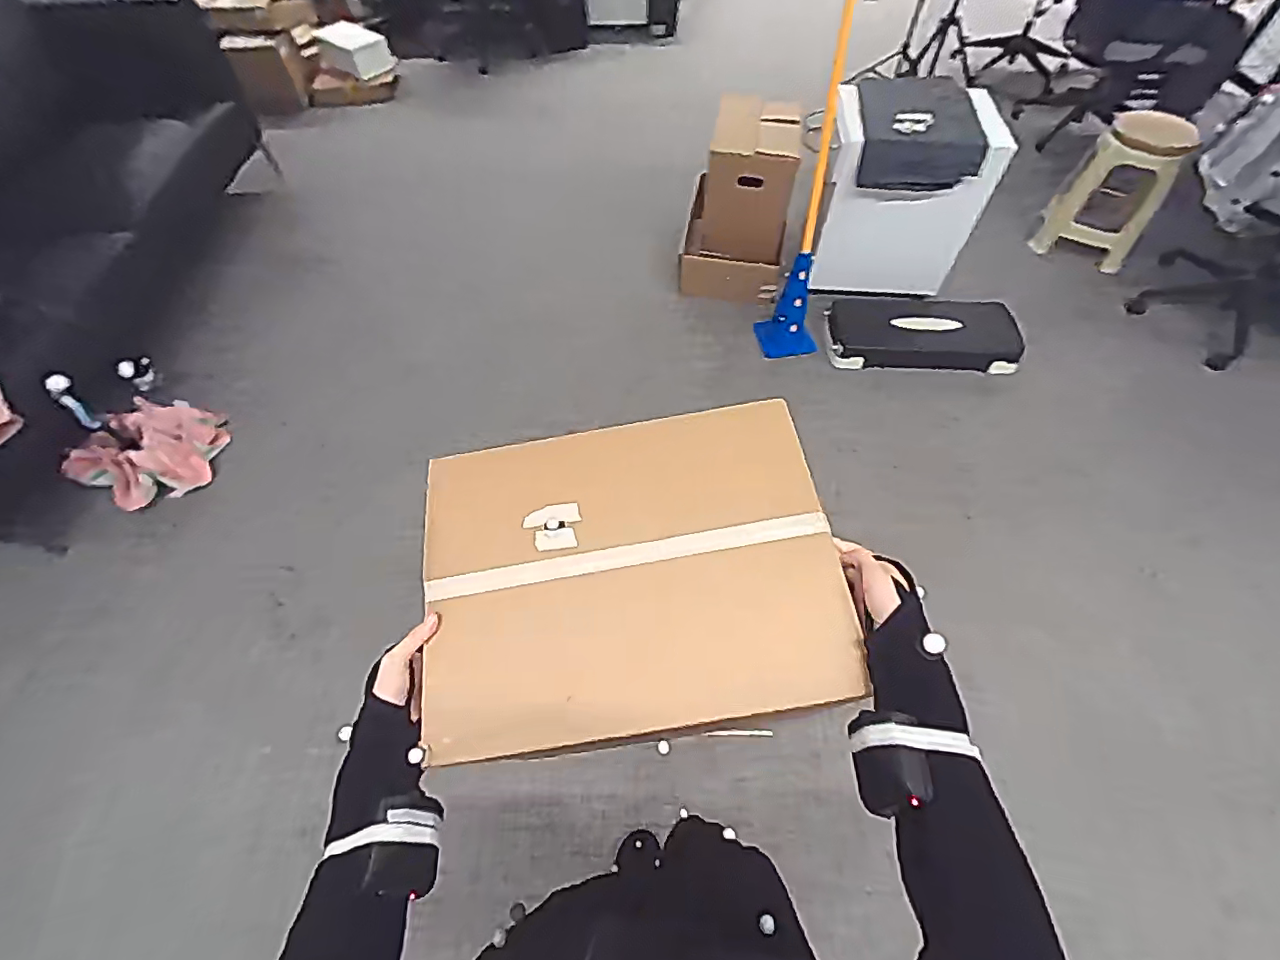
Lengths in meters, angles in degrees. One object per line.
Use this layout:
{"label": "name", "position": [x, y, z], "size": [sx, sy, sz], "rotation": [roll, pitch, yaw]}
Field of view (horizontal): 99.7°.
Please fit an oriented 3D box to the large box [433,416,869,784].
{"label": "large box", "position": [0.003, 0.165, 0.679], "size": [0.408, 0.320, 0.320], "rotation": [-11, 61, 1]}
